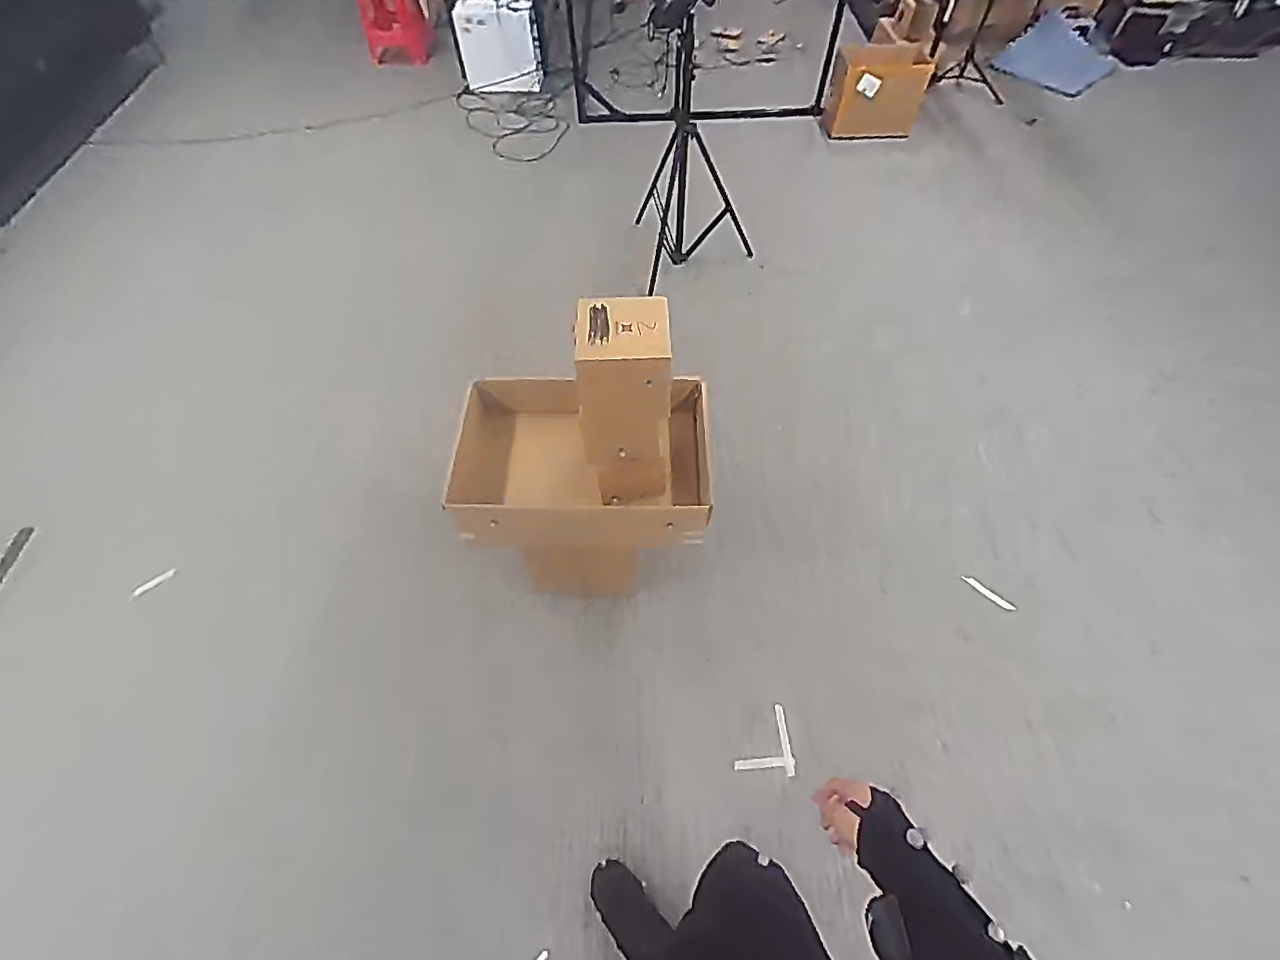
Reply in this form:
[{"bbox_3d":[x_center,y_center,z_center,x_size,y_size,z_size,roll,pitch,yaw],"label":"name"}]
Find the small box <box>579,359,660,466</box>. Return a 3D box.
[{"bbox_3d":[-0.040,-0.148,1.203,0.168,0.176,0.179,-2,58,2],"label":"small box"}]
